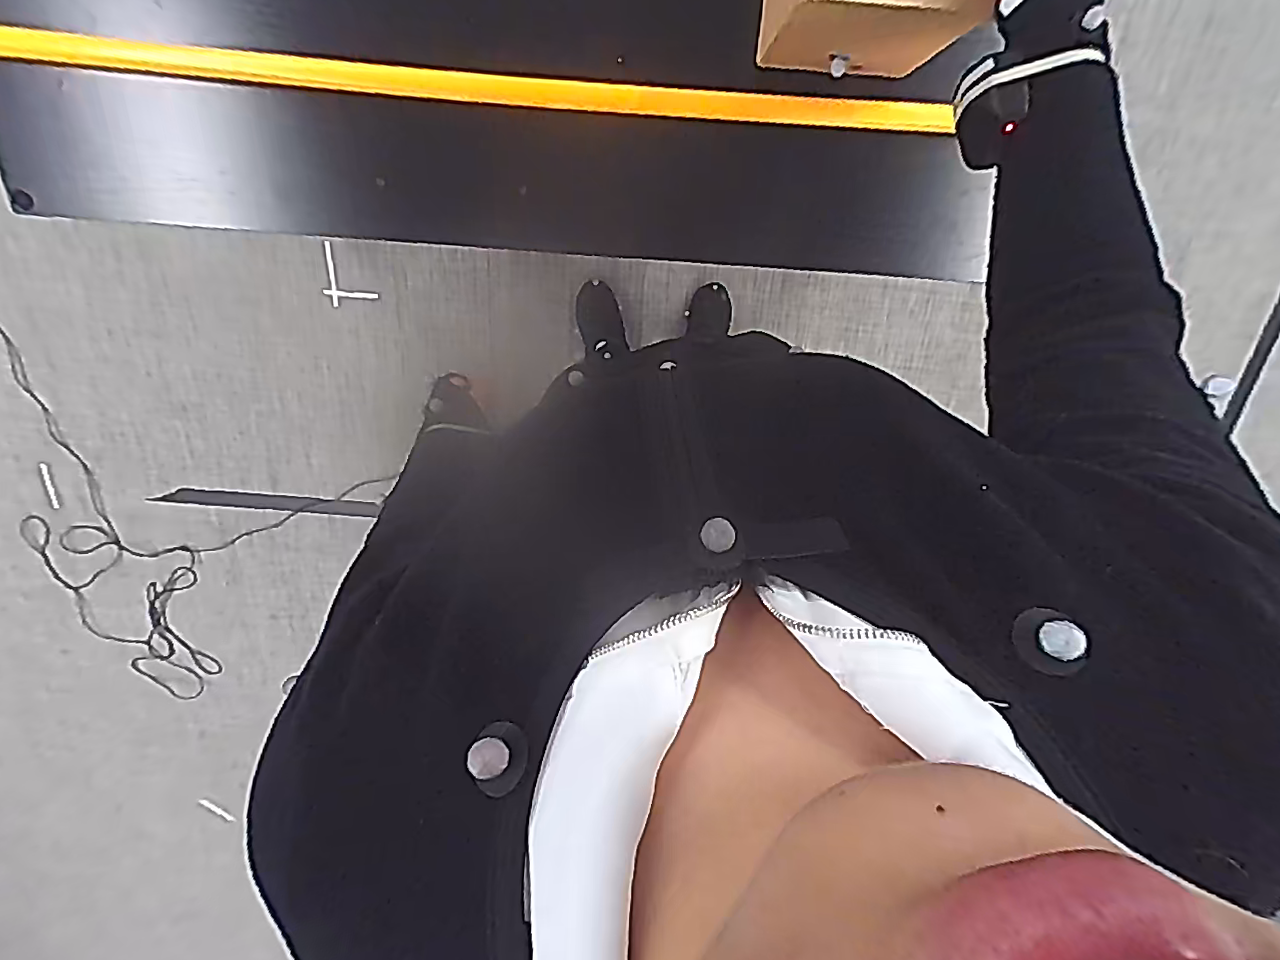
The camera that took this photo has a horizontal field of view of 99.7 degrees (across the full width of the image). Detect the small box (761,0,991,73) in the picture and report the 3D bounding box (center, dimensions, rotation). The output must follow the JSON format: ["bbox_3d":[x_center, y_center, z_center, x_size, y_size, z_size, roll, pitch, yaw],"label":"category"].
[{"bbox_3d":[0.216,-0.508,0.490,0.168,0.176,0.179,4,112,-2],"label":"small box"}]
